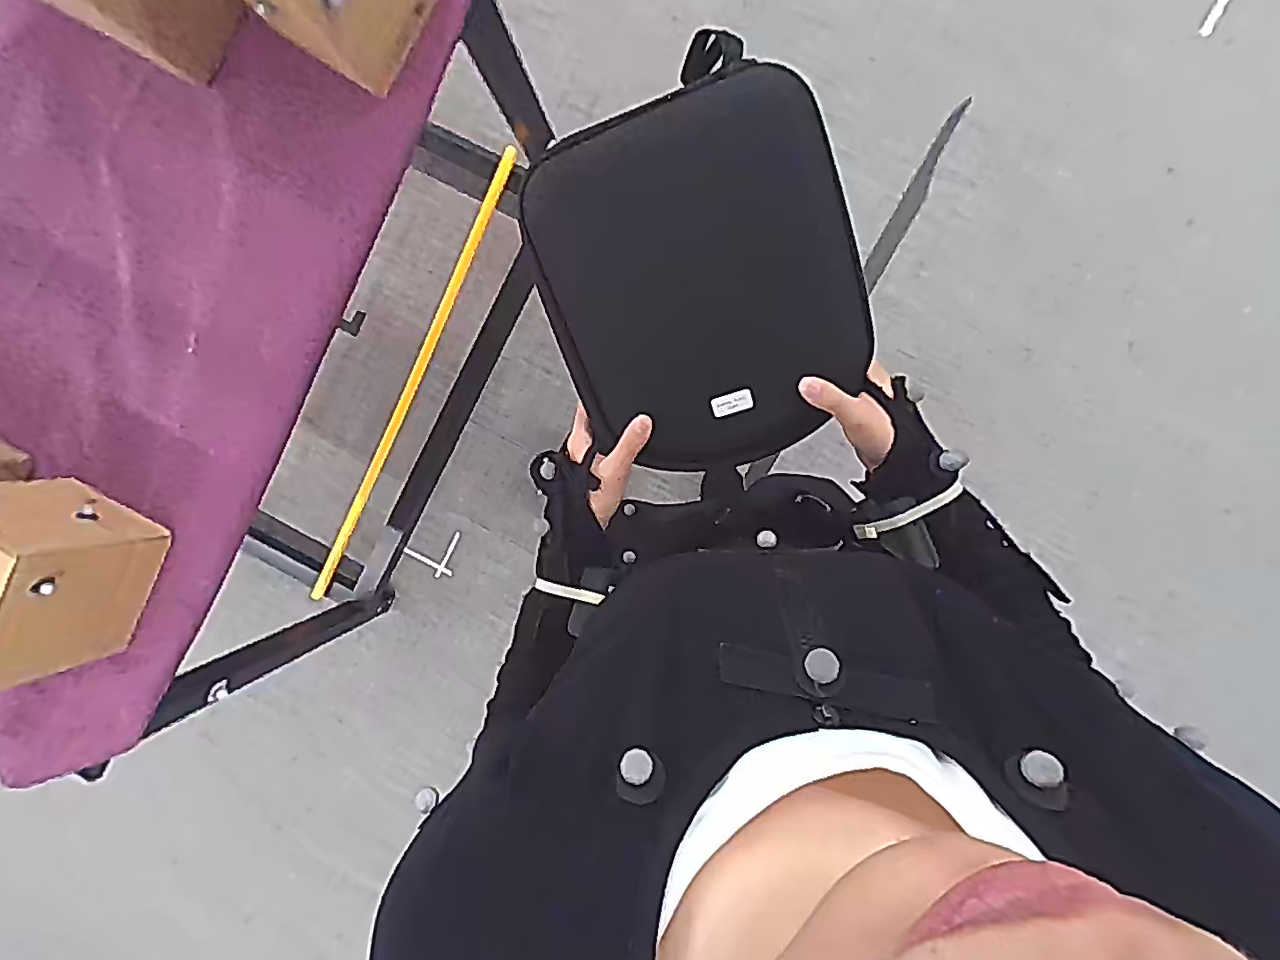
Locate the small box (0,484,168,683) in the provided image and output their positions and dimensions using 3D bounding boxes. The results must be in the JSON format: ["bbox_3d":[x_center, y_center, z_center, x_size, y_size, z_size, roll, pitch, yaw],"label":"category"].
[{"bbox_3d":[-0.723,0.117,0.640,0.168,0.176,0.179,25,94,5],"label":"small box"}]
